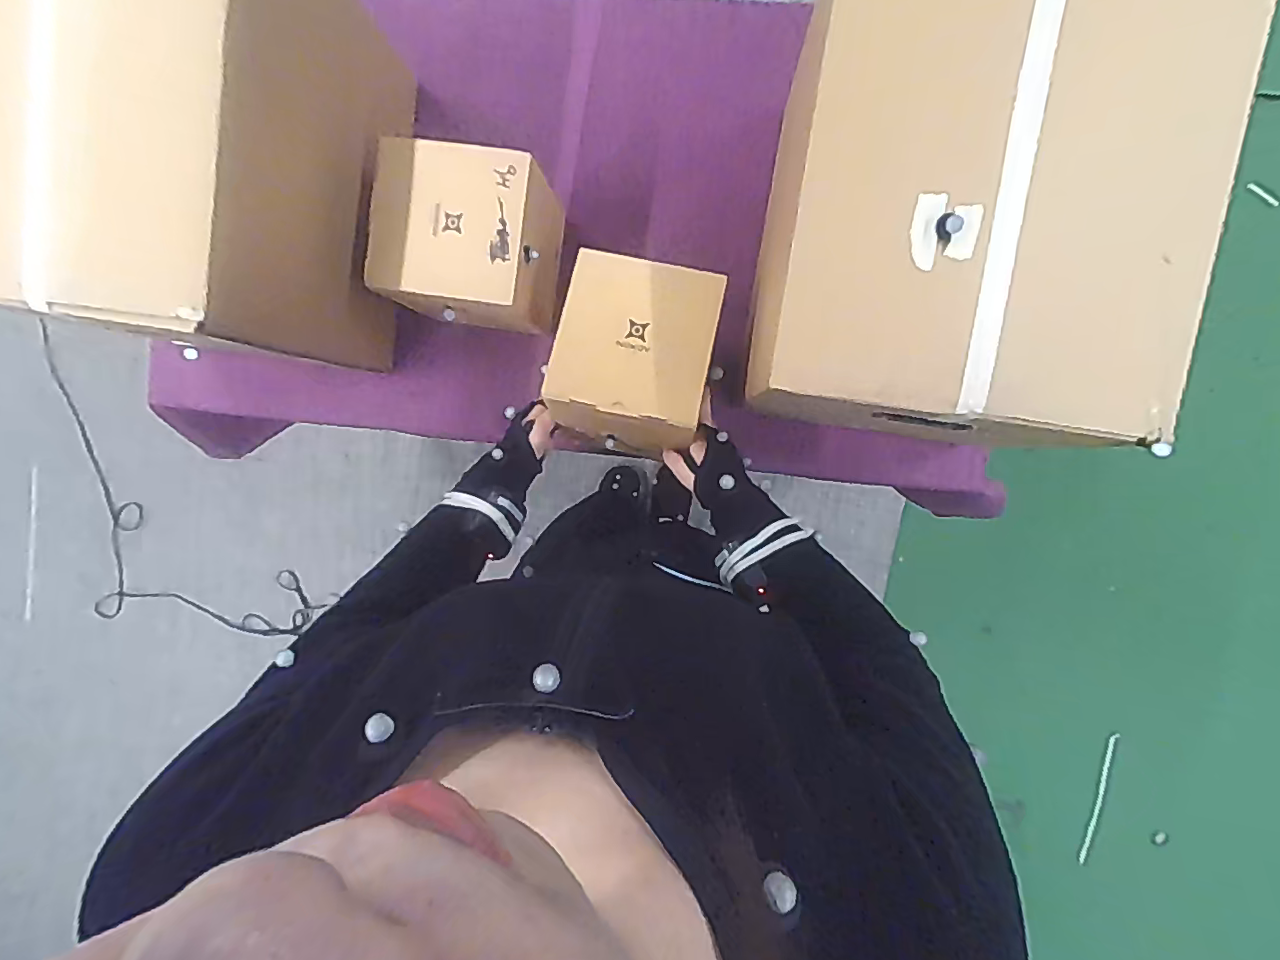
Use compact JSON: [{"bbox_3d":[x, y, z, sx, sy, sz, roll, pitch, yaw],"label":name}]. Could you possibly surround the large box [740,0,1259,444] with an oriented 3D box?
[{"bbox_3d":[0.306,-0.261,0.575,0.320,0.320,0.408,10,95,4],"label":"large box"}]
